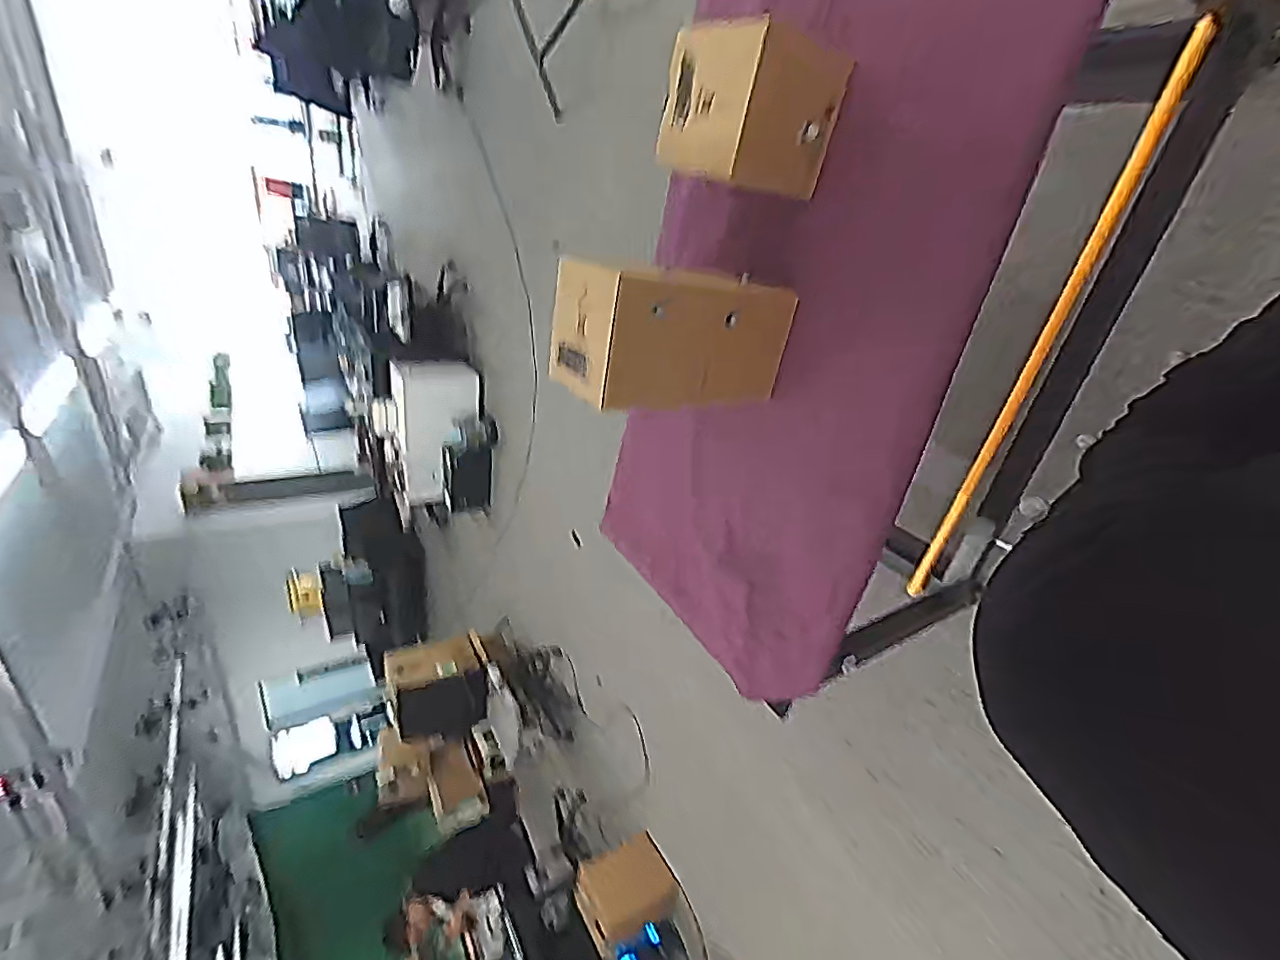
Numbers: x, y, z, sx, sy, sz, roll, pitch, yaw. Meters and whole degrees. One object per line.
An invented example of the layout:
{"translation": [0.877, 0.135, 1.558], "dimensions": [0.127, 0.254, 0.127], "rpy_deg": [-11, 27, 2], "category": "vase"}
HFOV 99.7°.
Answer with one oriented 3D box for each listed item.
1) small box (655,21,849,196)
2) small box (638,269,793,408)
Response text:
{"translation": [0.150, -0.508, 0.756], "dimensions": [0.179, 0.176, 0.168], "rpy_deg": [43, 131, 42], "category": "small box"}
{"translation": [0.120, -0.229, 0.872], "dimensions": [0.168, 0.176, 0.179], "rpy_deg": [40, 128, 46], "category": "small box"}
